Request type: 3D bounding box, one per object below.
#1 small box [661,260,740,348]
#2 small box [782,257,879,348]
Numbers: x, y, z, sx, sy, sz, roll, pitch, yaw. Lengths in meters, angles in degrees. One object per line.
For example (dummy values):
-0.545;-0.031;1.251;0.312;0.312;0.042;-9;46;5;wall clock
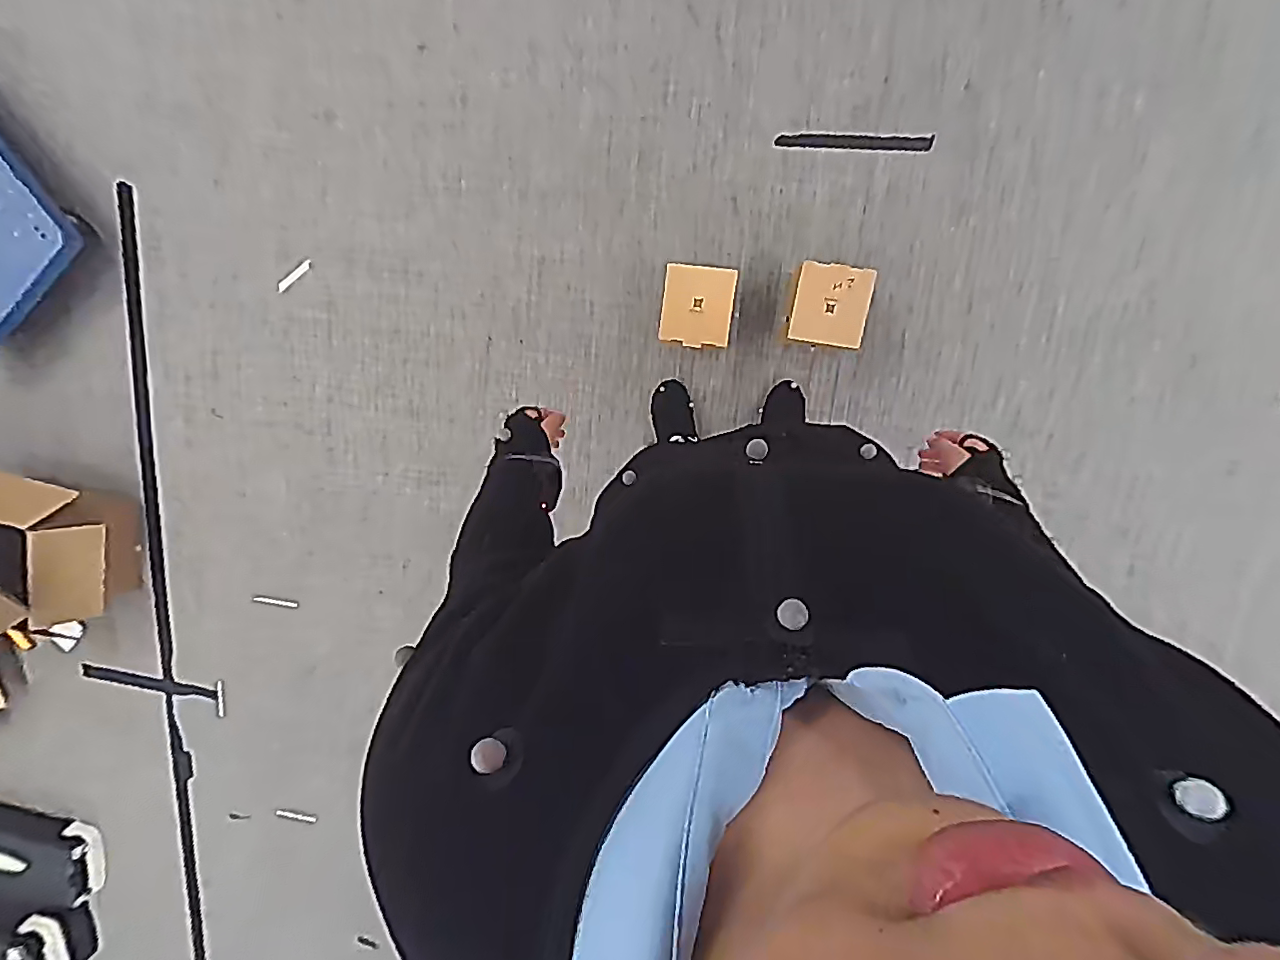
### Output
0.148;-0.427;1.332;0.168;0.176;0.179;8;102;6;small box
0.444;-0.416;1.292;0.168;0.176;0.179;10;102;5;small box
